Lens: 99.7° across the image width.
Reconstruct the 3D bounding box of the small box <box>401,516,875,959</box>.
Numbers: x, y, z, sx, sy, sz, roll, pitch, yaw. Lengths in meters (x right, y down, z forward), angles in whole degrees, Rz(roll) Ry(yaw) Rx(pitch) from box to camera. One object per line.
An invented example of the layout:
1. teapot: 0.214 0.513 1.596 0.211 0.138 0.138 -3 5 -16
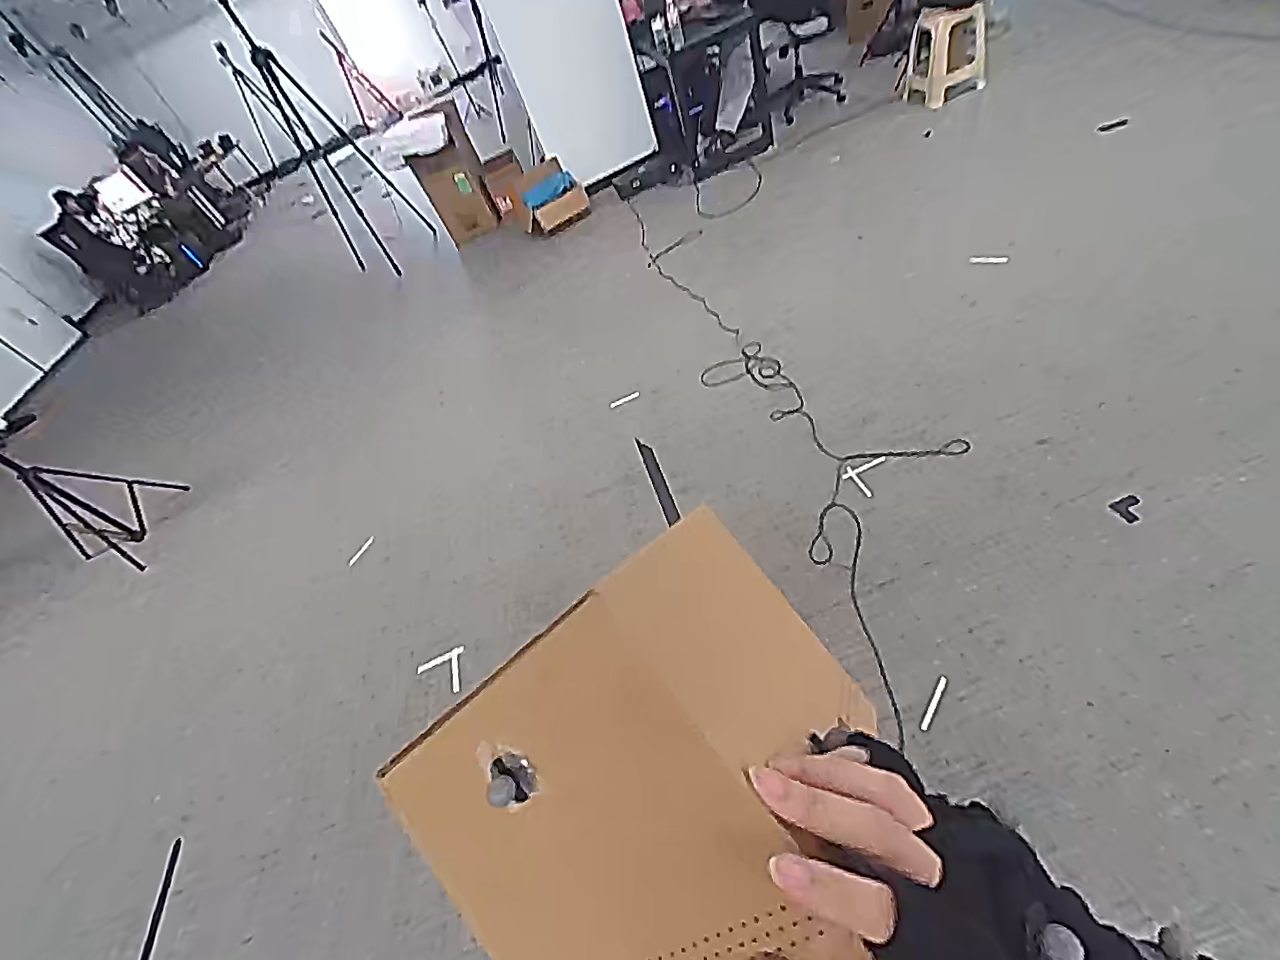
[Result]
1. small box: 0.008 0.153 0.318 0.179 0.168 0.176 -44 82 23
